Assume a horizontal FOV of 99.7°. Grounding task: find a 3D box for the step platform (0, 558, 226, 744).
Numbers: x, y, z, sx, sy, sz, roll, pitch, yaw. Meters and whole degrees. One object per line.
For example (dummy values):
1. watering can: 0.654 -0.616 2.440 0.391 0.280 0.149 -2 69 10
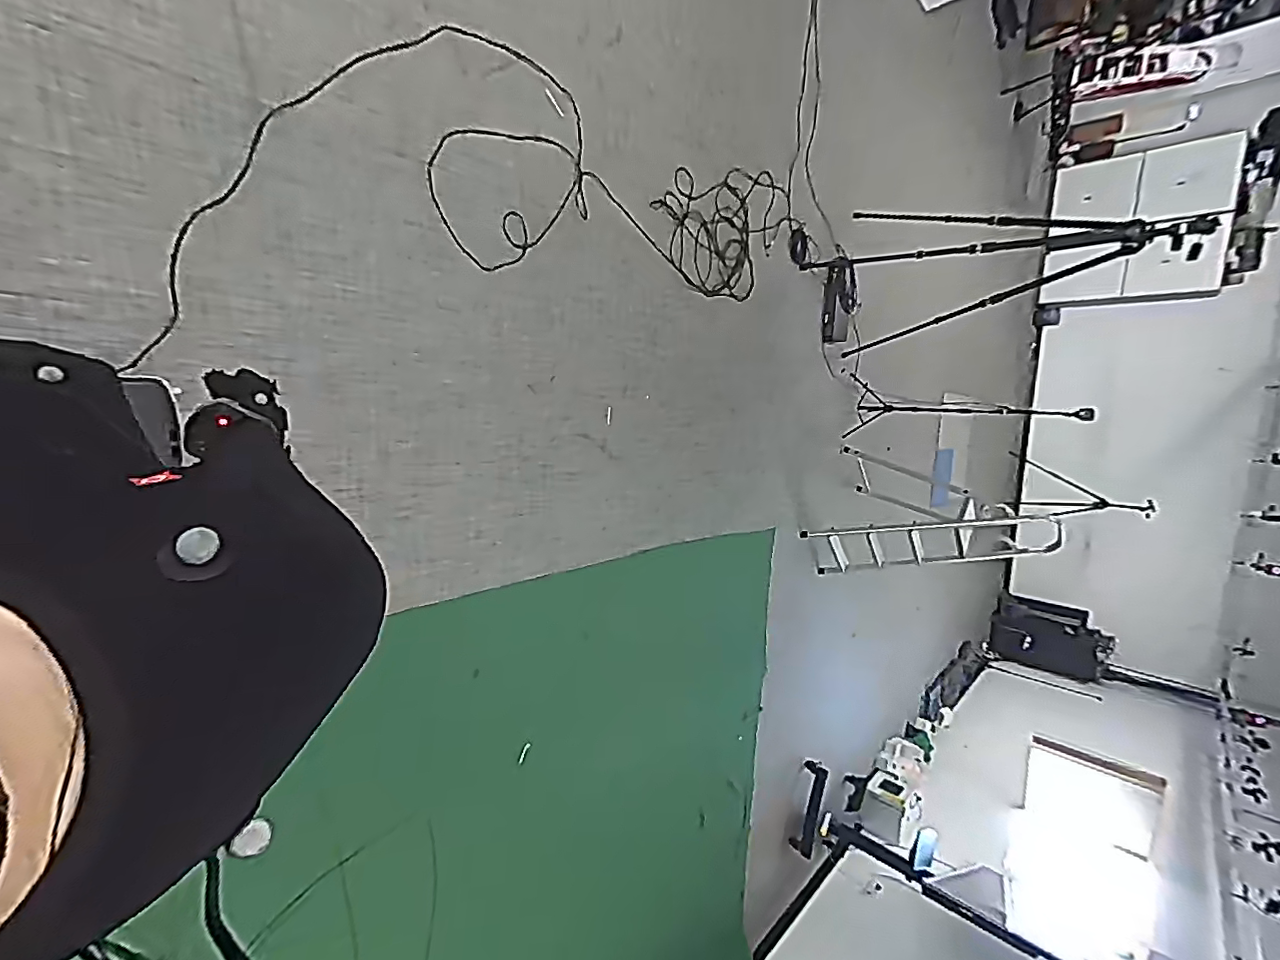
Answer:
1. step platform: -1.091 0.322 0.843 0.684 0.204 0.286 -6 101 -47
